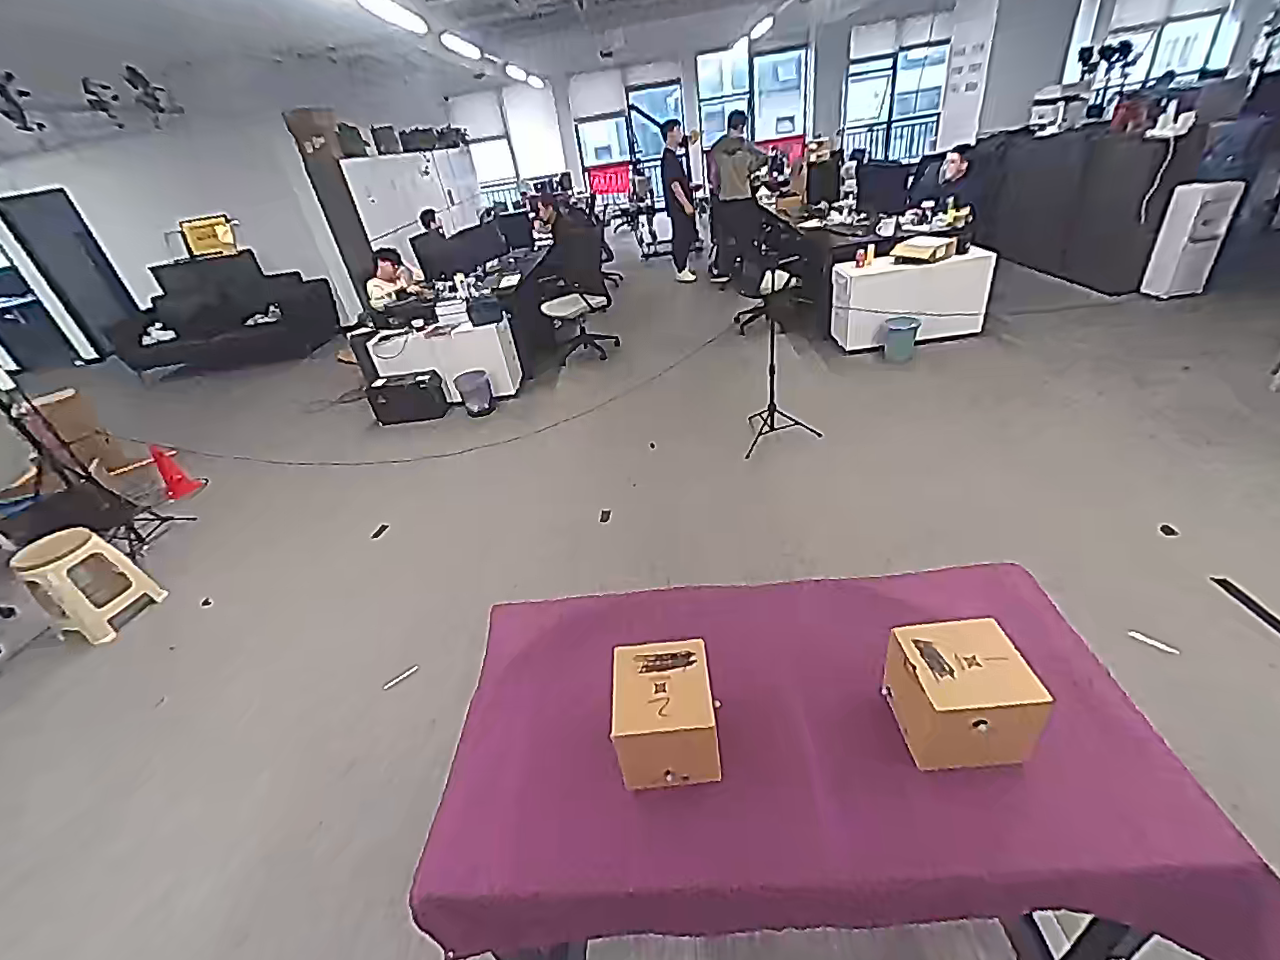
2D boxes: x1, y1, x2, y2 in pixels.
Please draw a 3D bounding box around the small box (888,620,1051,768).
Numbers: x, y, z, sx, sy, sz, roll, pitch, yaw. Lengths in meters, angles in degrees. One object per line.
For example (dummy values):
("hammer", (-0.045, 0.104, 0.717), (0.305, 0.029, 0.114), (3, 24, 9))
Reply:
("small box", (0.536, 0.362, 0.912), (0.179, 0.176, 0.168), (-7, 33, 4))
